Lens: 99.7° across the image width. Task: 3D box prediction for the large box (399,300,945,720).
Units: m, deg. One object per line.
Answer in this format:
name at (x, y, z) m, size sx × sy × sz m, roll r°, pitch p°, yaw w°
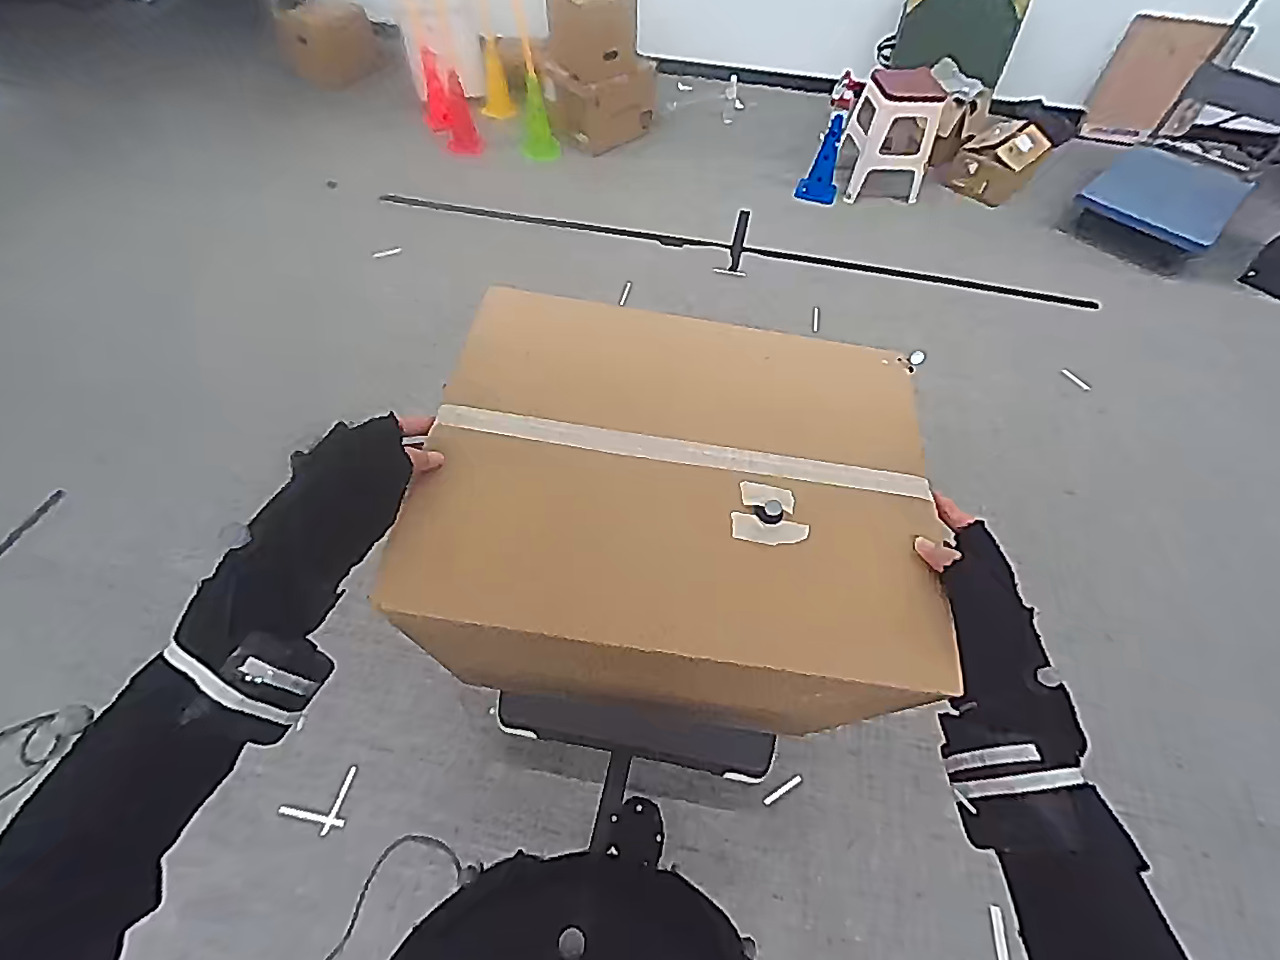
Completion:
large box at (0.025, 0.055, 0.584) m, size 0.408 × 0.320 × 0.320 m, roll 9°, pitch 61°, yaw -1°
